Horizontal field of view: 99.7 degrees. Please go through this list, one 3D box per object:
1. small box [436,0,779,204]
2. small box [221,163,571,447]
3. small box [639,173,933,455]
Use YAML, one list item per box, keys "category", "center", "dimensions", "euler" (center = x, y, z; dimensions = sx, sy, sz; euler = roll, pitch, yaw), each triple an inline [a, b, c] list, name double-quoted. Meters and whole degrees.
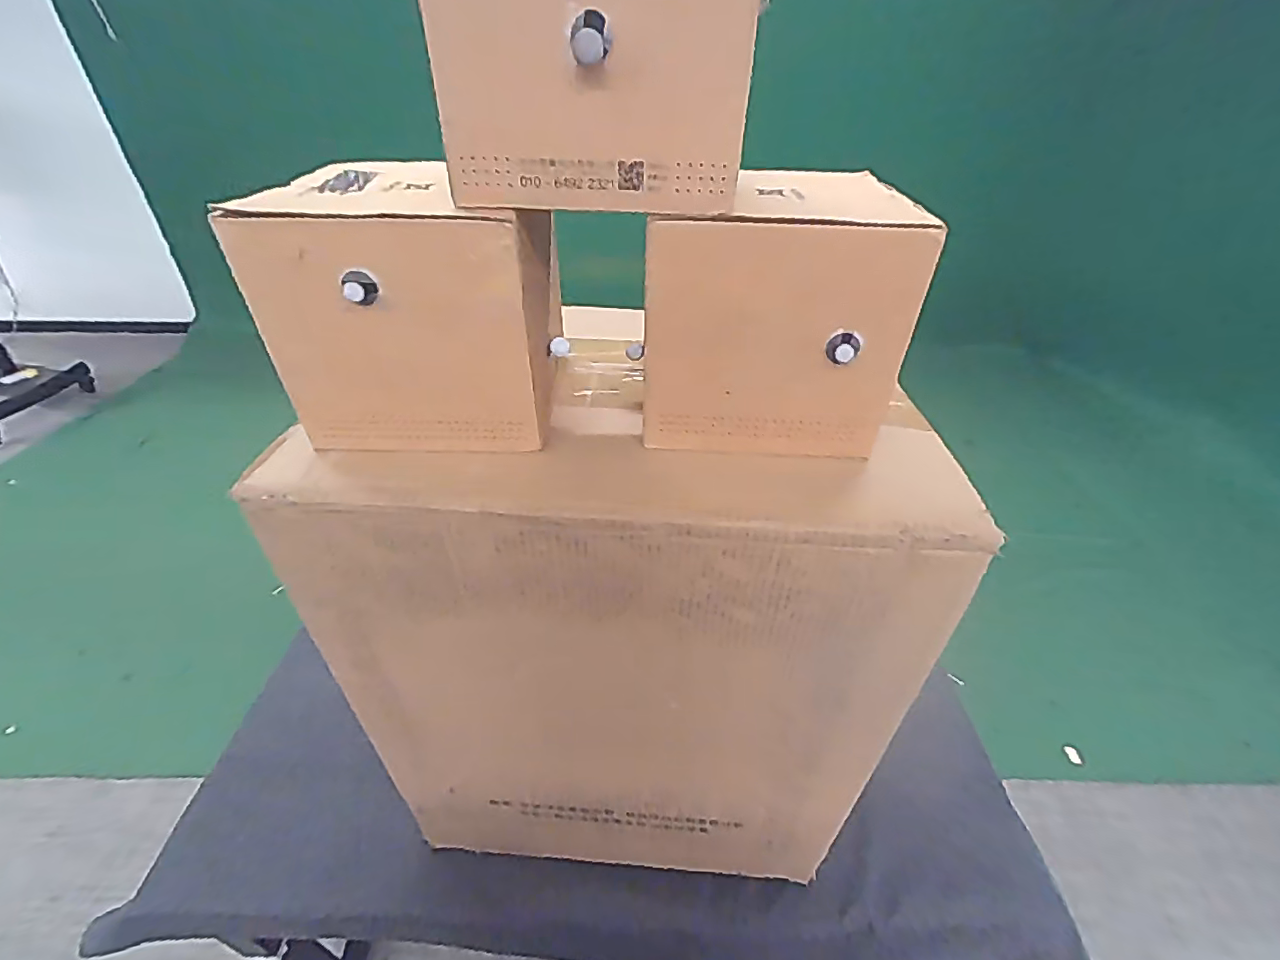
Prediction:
- category: "small box"
  center: [-0.024, -0.285, 0.342]
  dimensions: [0.179, 0.176, 0.168]
  euler: [-19, 42, -22]
- category: "small box"
  center: [-0.160, -0.140, 0.430]
  dimensions: [0.179, 0.176, 0.168]
  euler: [3, 41, 4]
- category: "small box"
  center: [0.092, -0.133, 0.431]
  dimensions: [0.179, 0.176, 0.168]
  euler: [2, 38, 3]
